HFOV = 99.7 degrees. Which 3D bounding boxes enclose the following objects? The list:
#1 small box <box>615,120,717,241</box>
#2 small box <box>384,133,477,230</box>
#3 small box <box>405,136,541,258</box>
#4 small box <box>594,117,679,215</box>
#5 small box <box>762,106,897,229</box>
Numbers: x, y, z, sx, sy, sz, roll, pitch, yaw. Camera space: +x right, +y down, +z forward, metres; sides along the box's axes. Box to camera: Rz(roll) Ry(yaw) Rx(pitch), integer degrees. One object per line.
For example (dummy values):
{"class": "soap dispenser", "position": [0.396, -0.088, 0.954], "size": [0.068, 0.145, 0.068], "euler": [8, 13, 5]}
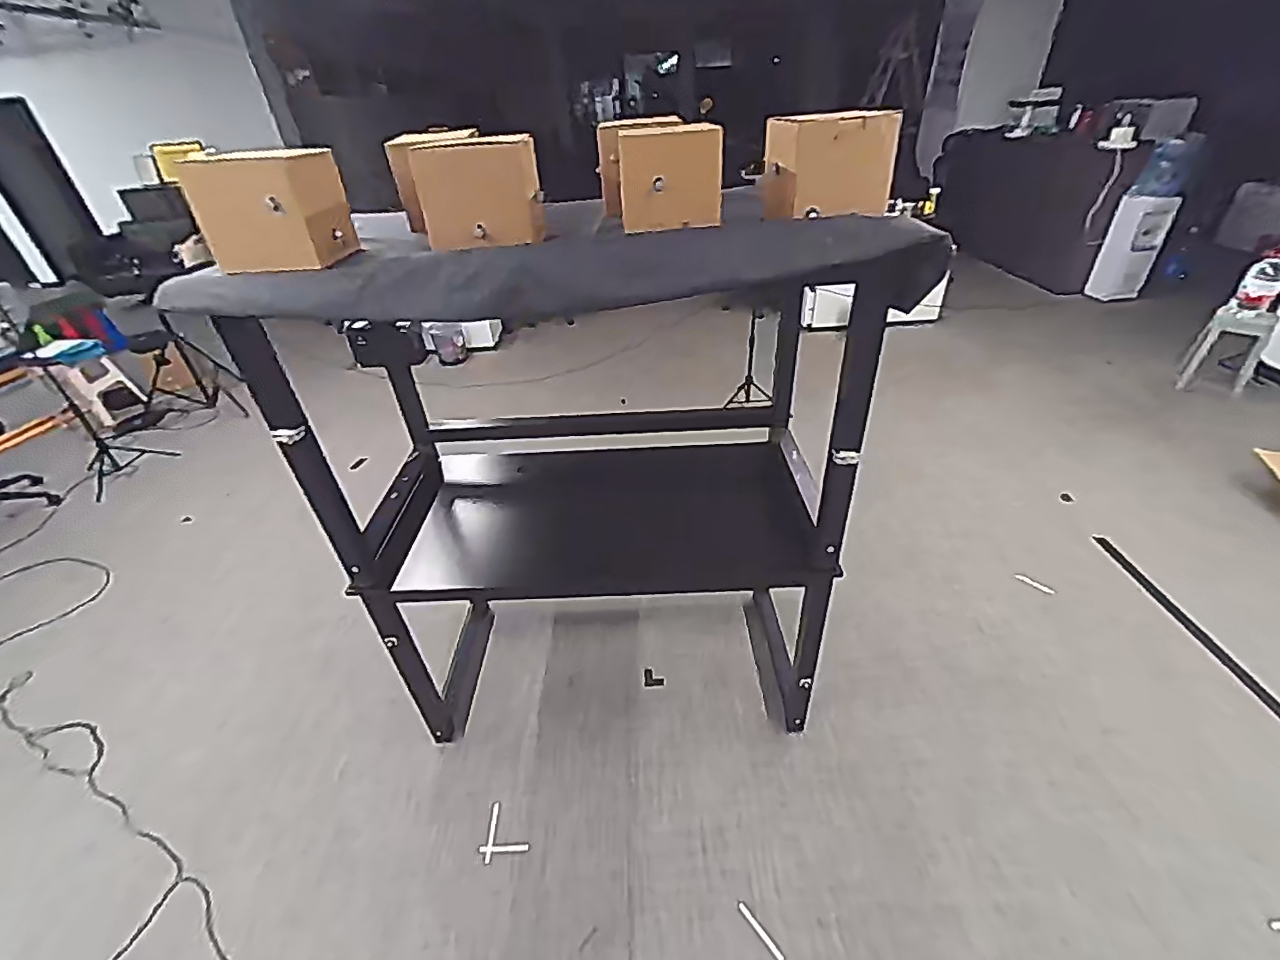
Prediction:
{"class": "small box", "position": [0.046, -0.532, 0.964], "size": [0.168, 0.176, 0.179], "euler": [-5, 34, 0]}
{"class": "small box", "position": [-0.433, -0.657, 1.190], "size": [0.168, 0.176, 0.179], "euler": [-8, 36, -3]}
{"class": "small box", "position": [-0.276, -0.496, 0.946], "size": [0.179, 0.176, 0.168], "euler": [-3, 34, 0]}
{"class": "small box", "position": [-0.002, -0.695, 1.198], "size": [0.179, 0.176, 0.168], "euler": [-3, 36, 2]}
{"class": "small box", "position": [0.320, -0.546, 0.950], "size": [0.168, 0.176, 0.179], "euler": [-7, 34, -3]}
